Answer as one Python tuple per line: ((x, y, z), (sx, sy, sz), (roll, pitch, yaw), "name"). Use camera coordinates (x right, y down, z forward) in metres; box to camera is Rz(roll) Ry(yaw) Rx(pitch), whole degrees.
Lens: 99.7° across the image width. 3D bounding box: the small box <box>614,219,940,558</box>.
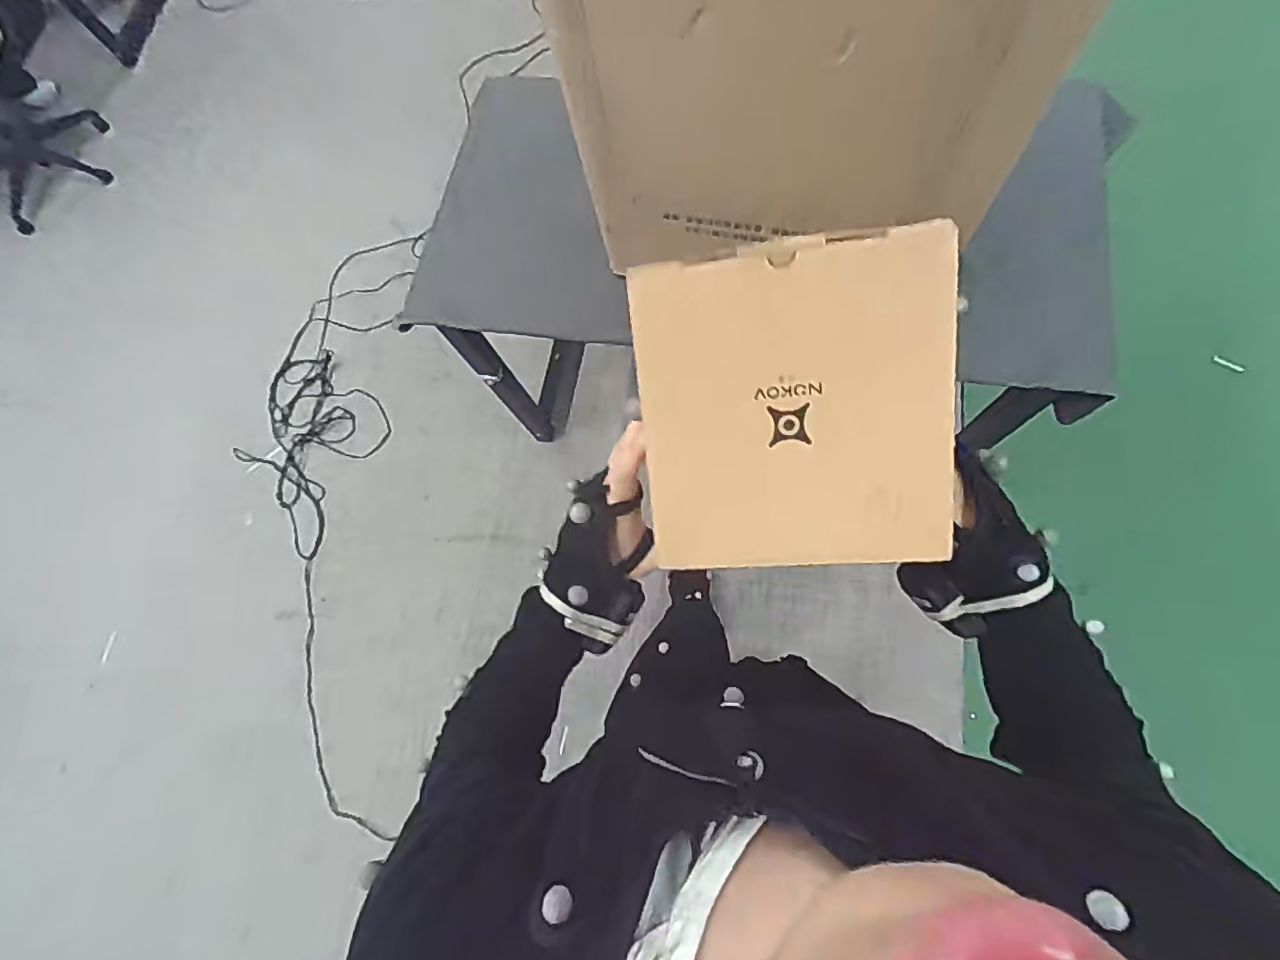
((0.089, -0.059, 0.372), (0.168, 0.176, 0.179), (-3, 103, 12), "small box")
